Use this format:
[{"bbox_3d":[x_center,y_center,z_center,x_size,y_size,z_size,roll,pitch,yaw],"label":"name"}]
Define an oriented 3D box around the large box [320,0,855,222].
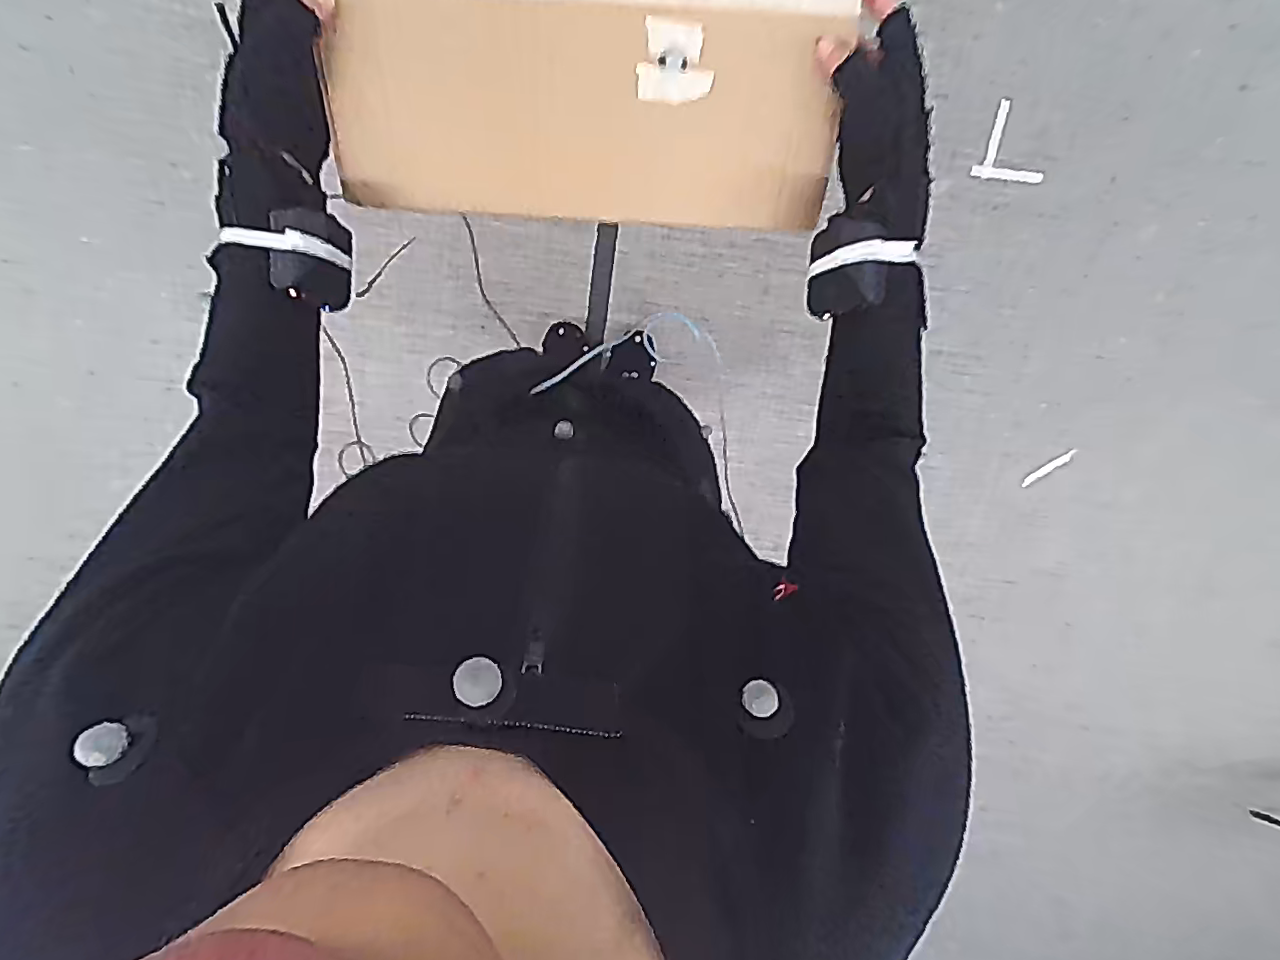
[{"bbox_3d":[-0.043,-0.437,0.525,0.408,0.320,0.320,2,120,-4],"label":"large box"}]
